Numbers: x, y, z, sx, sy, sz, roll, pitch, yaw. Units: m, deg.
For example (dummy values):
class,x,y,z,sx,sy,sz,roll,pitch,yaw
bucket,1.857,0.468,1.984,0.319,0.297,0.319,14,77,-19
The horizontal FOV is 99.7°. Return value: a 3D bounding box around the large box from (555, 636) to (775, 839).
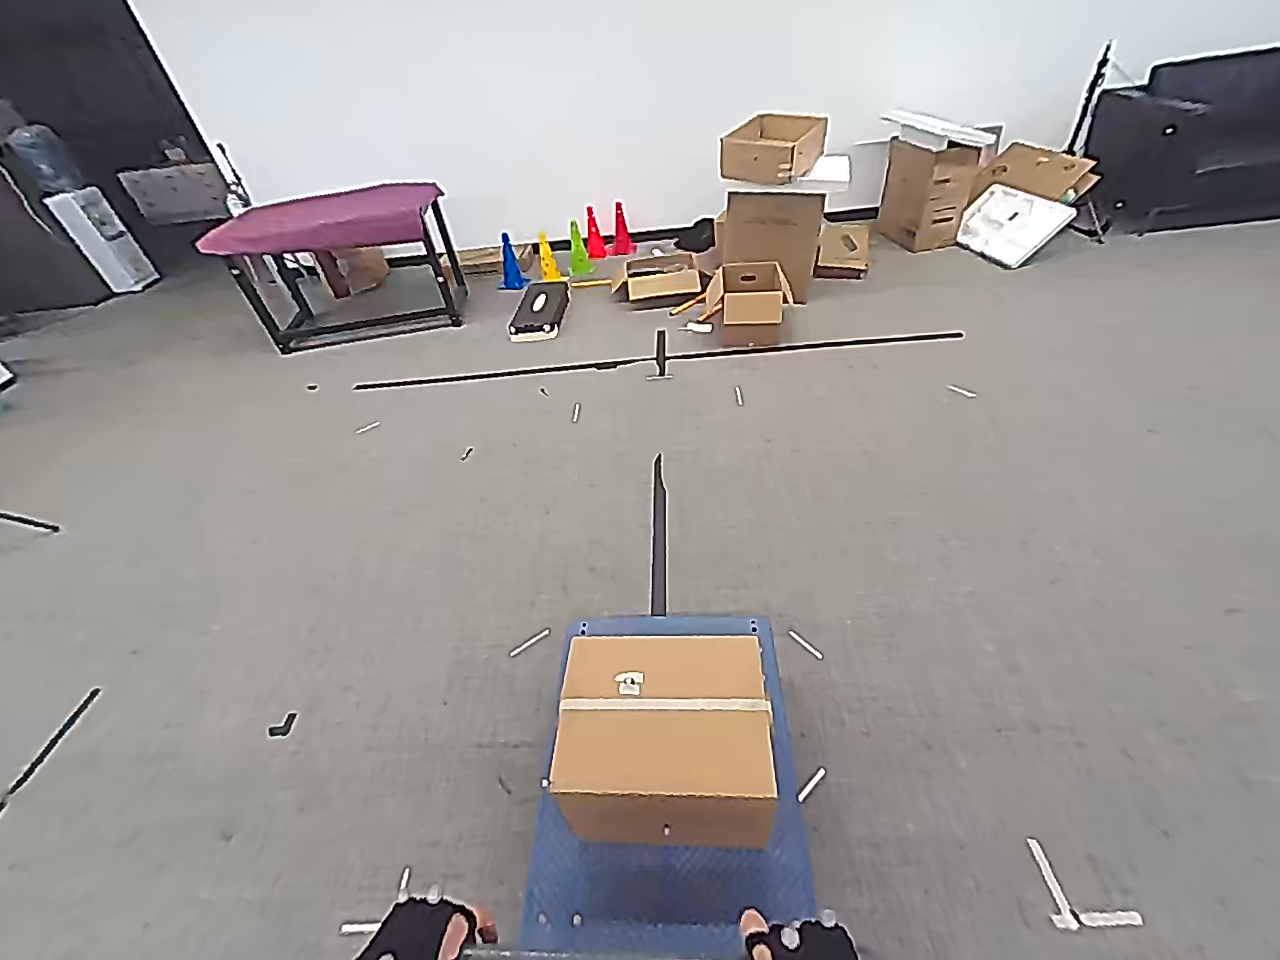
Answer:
class,x,y,z,sx,sy,sz,roll,pitch,yaw
large box,0.064,0.562,1.173,0.408,0.320,0.320,-3,41,7
